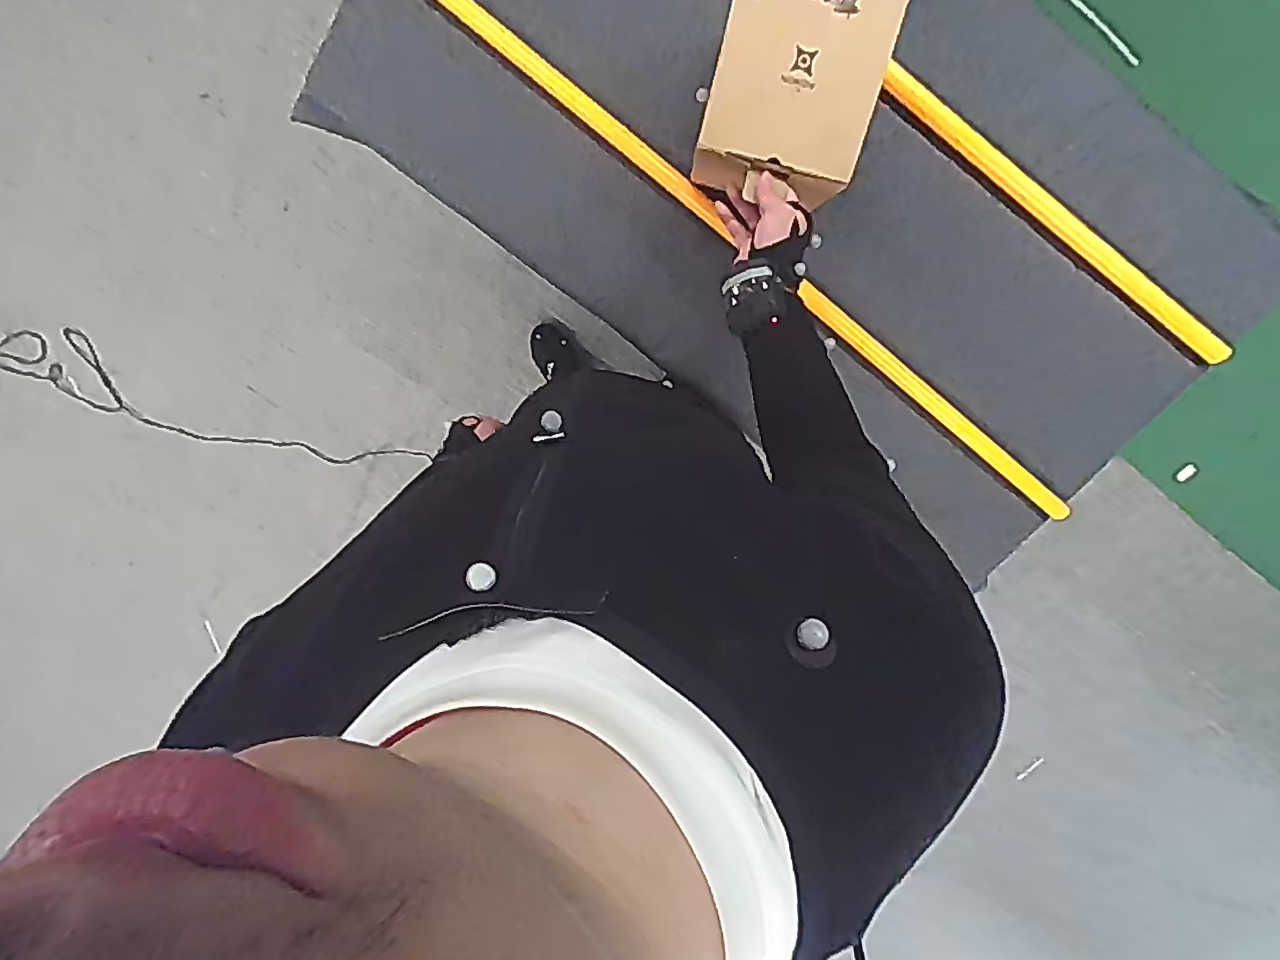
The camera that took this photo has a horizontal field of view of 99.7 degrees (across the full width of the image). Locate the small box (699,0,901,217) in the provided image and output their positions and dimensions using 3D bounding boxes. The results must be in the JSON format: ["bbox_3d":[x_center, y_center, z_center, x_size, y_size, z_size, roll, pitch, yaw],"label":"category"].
[{"bbox_3d":[0.167,-0.421,0.627,0.168,0.176,0.179,12,107,1],"label":"small box"}]
